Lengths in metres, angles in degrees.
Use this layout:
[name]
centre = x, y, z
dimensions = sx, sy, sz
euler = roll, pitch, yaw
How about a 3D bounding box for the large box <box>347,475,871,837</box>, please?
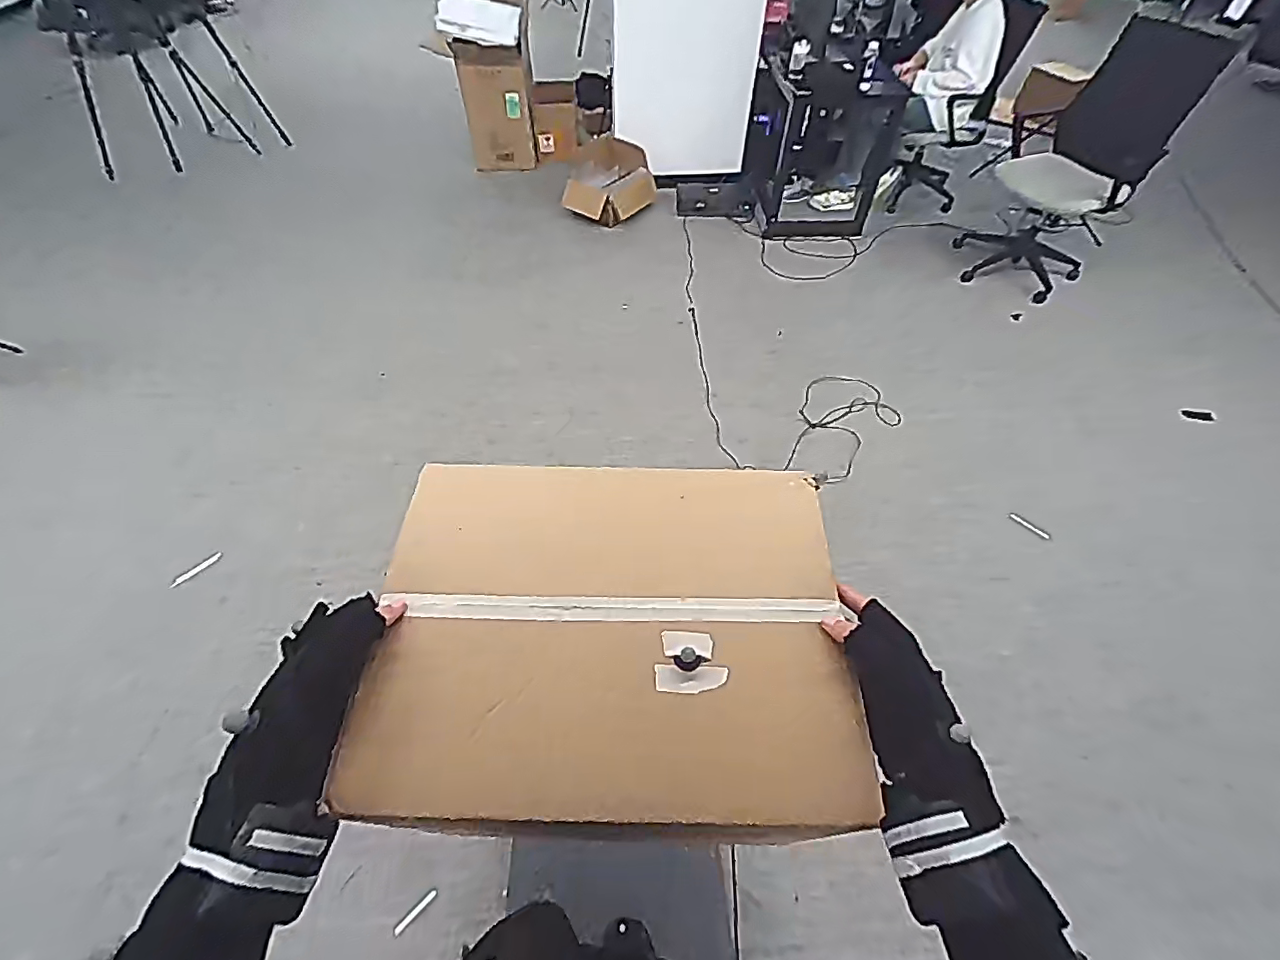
[large box]
centre = -0.024, 0.209, 0.610
dimensions = 0.408, 0.320, 0.320
euler = 1, 54, 0
